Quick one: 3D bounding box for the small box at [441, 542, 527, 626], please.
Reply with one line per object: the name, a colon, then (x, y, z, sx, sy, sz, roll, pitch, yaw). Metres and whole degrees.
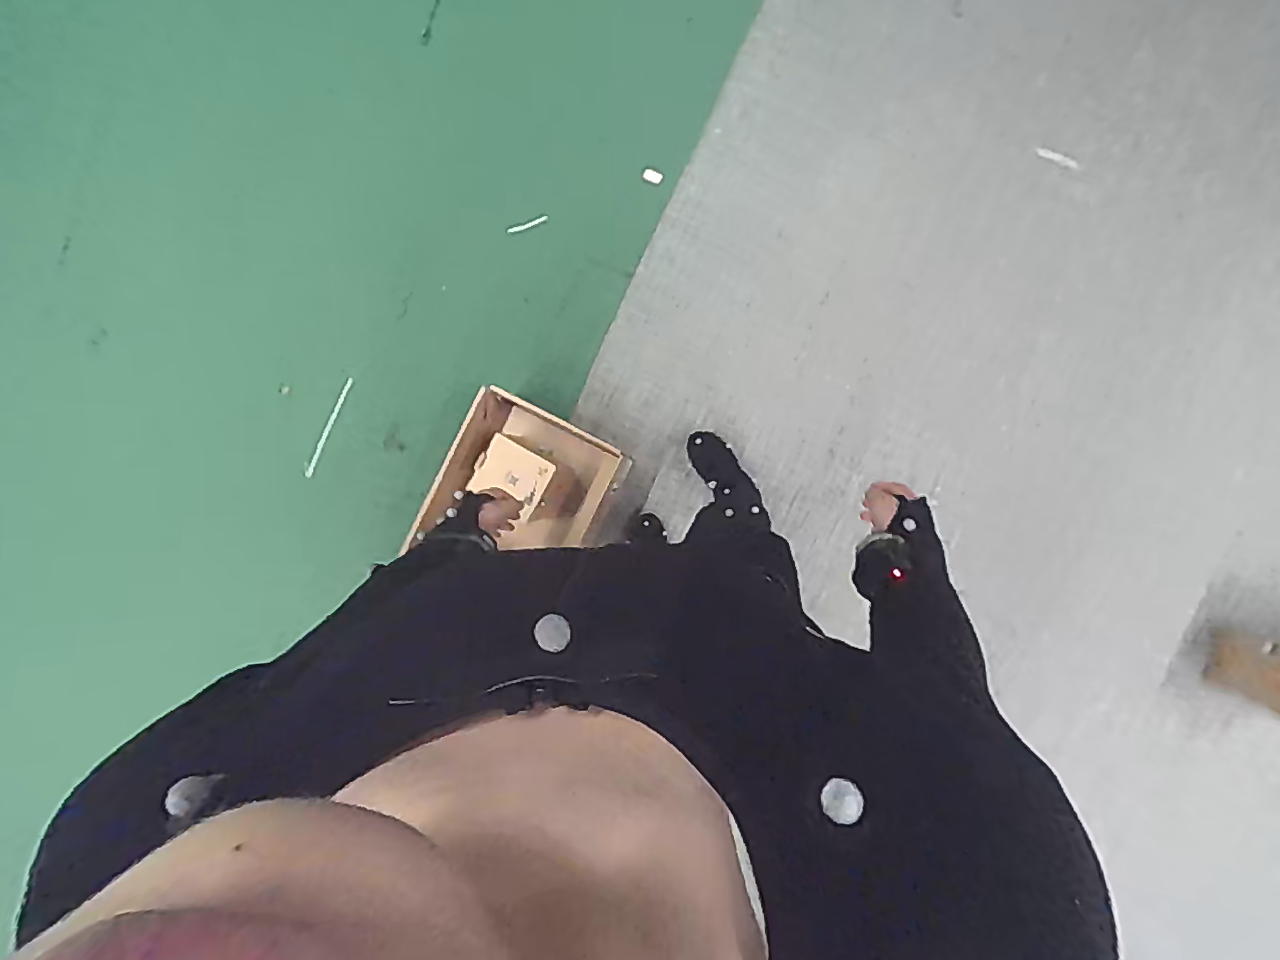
small box: (-0.418, 0.268, 1.381, 0.179, 0.176, 0.168, 24, 92, 6)

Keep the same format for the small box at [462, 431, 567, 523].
small box: (-0.311, -0.004, 1.377, 0.179, 0.176, 0.168, 30, 93, 4)

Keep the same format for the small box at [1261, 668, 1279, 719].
small box: (1.449, 0.453, 1.095, 0.168, 0.176, 0.179, 23, 93, 6)
